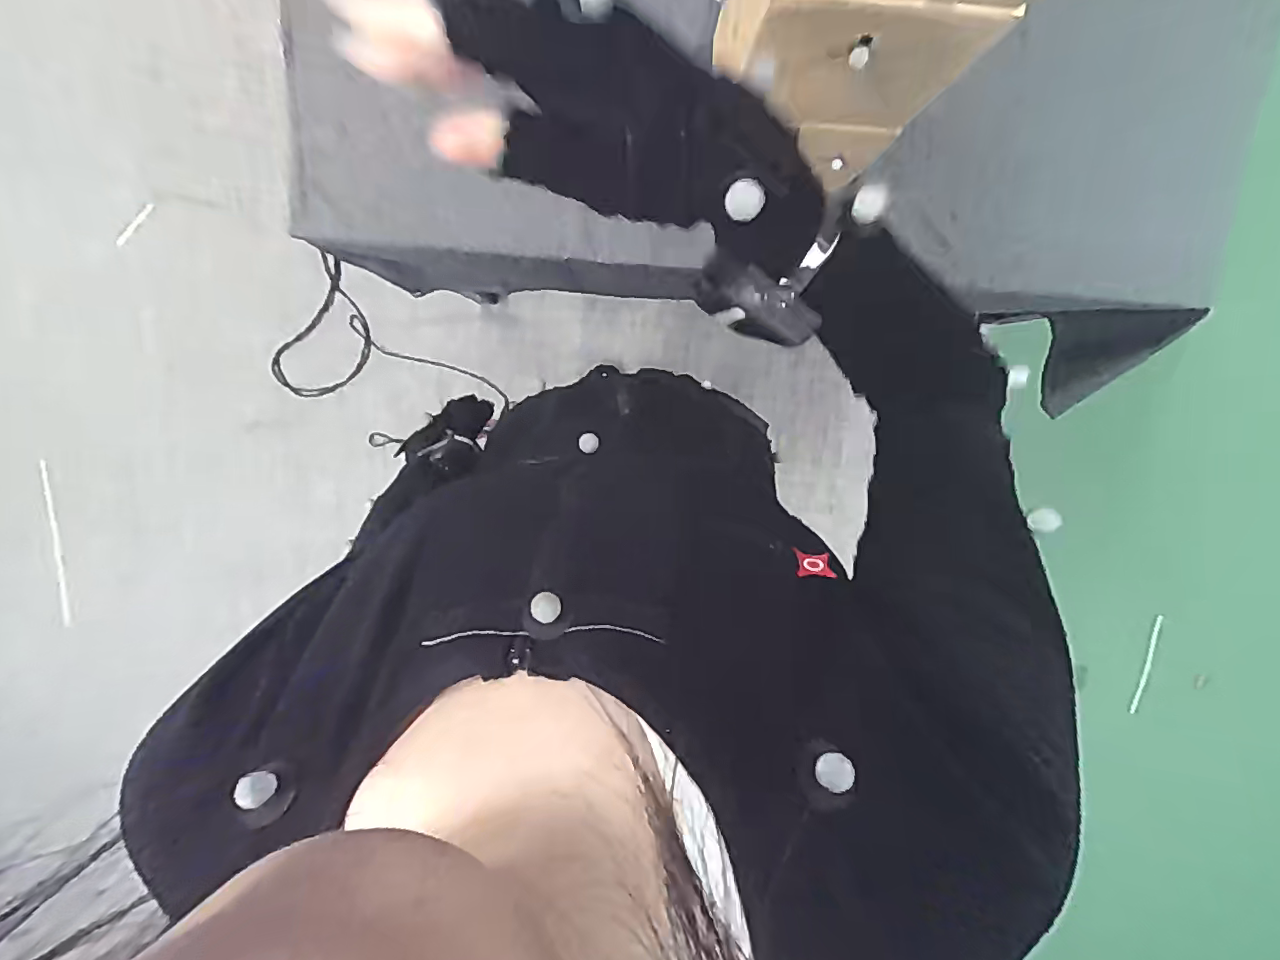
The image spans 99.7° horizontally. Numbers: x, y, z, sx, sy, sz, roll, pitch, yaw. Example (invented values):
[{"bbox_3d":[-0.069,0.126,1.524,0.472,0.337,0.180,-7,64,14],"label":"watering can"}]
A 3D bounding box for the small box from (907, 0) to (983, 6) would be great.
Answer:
[{"bbox_3d":[0.174,-0.388,0.270,0.179,0.176,0.168,5,99,-2],"label":"small box"}]

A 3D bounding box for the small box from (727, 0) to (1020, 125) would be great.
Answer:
[{"bbox_3d":[0.176,-0.412,0.433,0.179,0.176,0.168,3,100,-1],"label":"small box"}]
